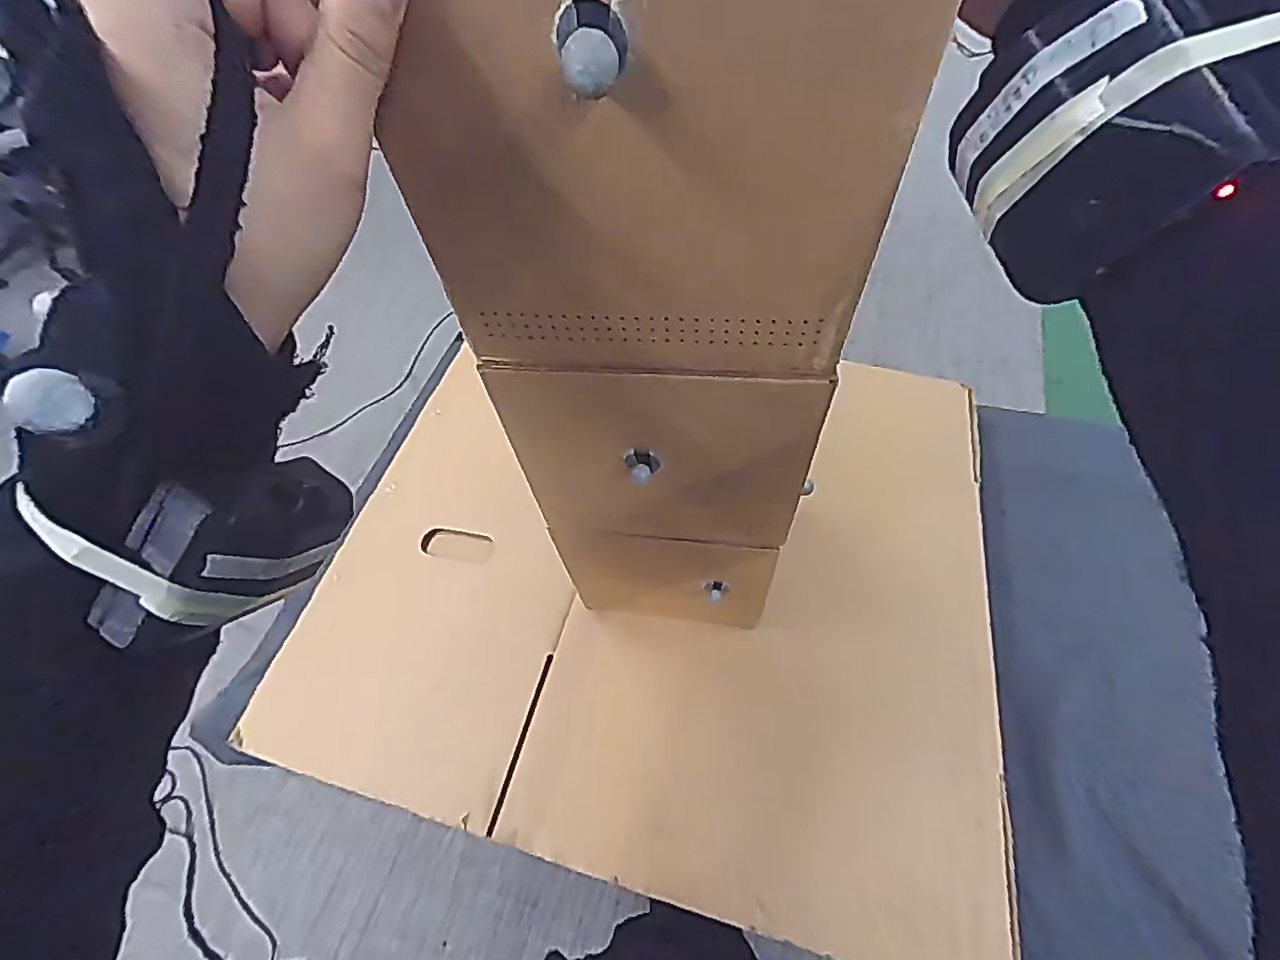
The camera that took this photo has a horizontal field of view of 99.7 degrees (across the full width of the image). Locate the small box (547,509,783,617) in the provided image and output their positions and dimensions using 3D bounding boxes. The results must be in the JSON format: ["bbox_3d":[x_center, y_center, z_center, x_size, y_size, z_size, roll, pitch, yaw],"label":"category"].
[{"bbox_3d":[0.033,0.018,0.503,0.179,0.176,0.168,4,57,9],"label":"small box"}]

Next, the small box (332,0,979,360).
[{"bbox_3d":[0.013,-0.167,0.230,0.179,0.176,0.168,3,59,7],"label":"small box"}]

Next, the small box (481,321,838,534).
[{"bbox_3d":[0.022,-0.075,0.367,0.179,0.176,0.168,3,57,8],"label":"small box"}]
